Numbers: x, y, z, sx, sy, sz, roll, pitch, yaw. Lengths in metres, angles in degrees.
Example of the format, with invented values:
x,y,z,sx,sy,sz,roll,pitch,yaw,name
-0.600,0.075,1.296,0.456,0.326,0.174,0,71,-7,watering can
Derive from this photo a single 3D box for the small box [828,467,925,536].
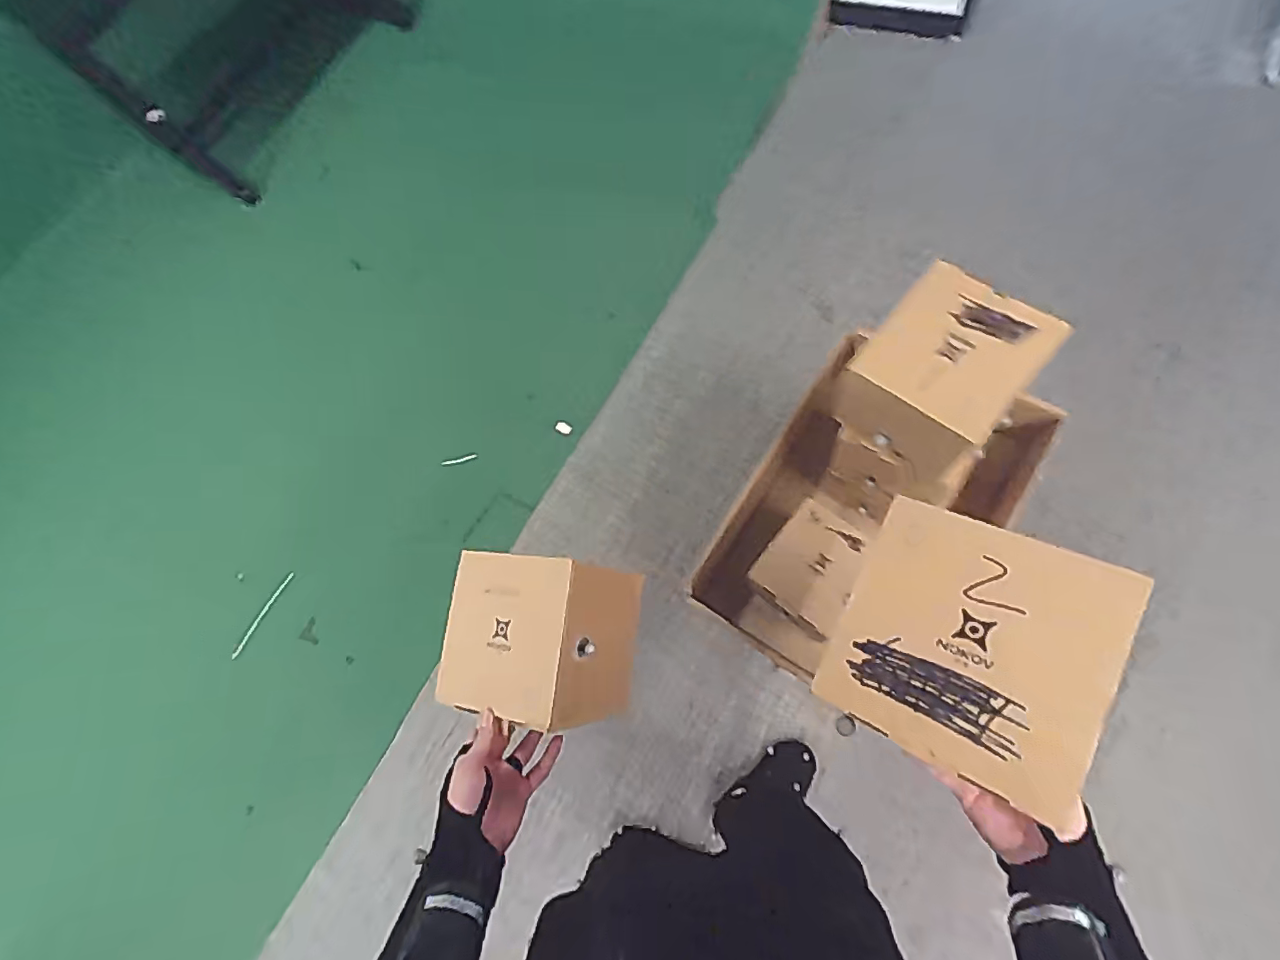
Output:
x,y,z,sx,sy,sz,roll,pitch,yaw,name
0.460,-0.020,0.995,0.168,0.176,0.179,30,82,22,small box

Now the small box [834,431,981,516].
x,y,z,sx,sy,sz,roll,pitch,yaw,name
0.420,-0.068,0.845,0.168,0.176,0.179,29,82,21,small box

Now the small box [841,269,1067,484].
x,y,z,sx,sy,sz,roll,pitch,yaw,name
0.379,-0.123,0.696,0.168,0.176,0.179,40,86,22,small box
